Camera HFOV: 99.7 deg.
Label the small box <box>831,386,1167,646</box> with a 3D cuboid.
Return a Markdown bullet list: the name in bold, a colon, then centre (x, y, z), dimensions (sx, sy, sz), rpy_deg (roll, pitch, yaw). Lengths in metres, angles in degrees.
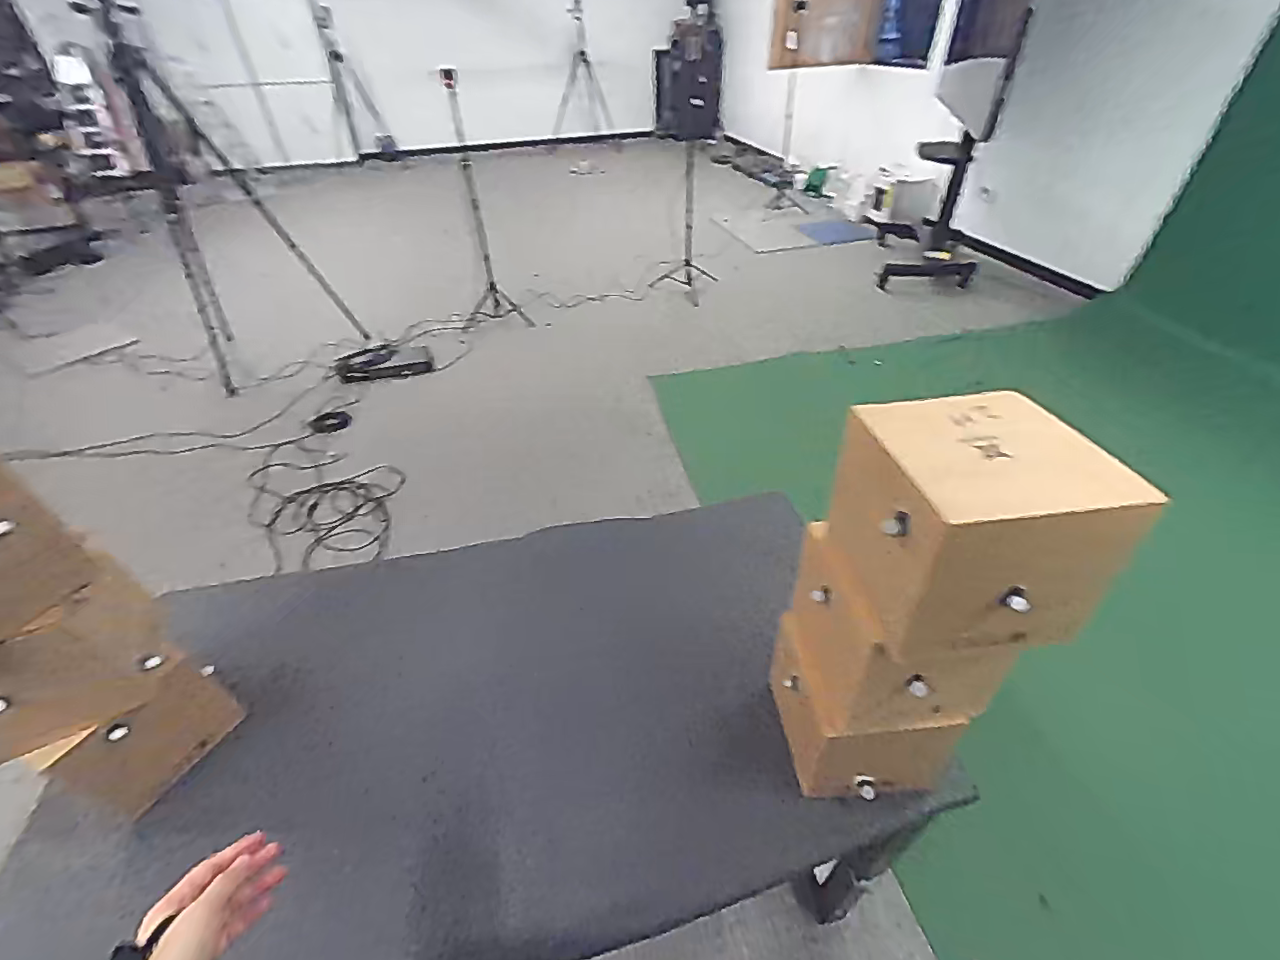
- **small box**: centre (0.293, 0.035, 0.495), dimensions (0.168, 0.176, 0.179), rpy_deg (-6, 37, -2)

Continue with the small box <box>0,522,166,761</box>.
- **small box**: centre (-0.698, 0.186, 0.626), dimensions (0.179, 0.176, 0.168), rpy_deg (-23, 46, -22)

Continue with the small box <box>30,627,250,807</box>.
- **small box**: centre (-0.695, 0.307, 0.738), dimensions (0.179, 0.176, 0.168), rpy_deg (18, 45, 21)

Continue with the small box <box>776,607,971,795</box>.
- **small box**: centre (0.286, 0.282, 0.712), dimensions (0.168, 0.176, 0.179), rpy_deg (-6, 38, -1)

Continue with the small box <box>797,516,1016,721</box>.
- **small box**: centre (0.291, 0.152, 0.614), dimensions (0.168, 0.176, 0.179), rpy_deg (-6, 37, -3)
